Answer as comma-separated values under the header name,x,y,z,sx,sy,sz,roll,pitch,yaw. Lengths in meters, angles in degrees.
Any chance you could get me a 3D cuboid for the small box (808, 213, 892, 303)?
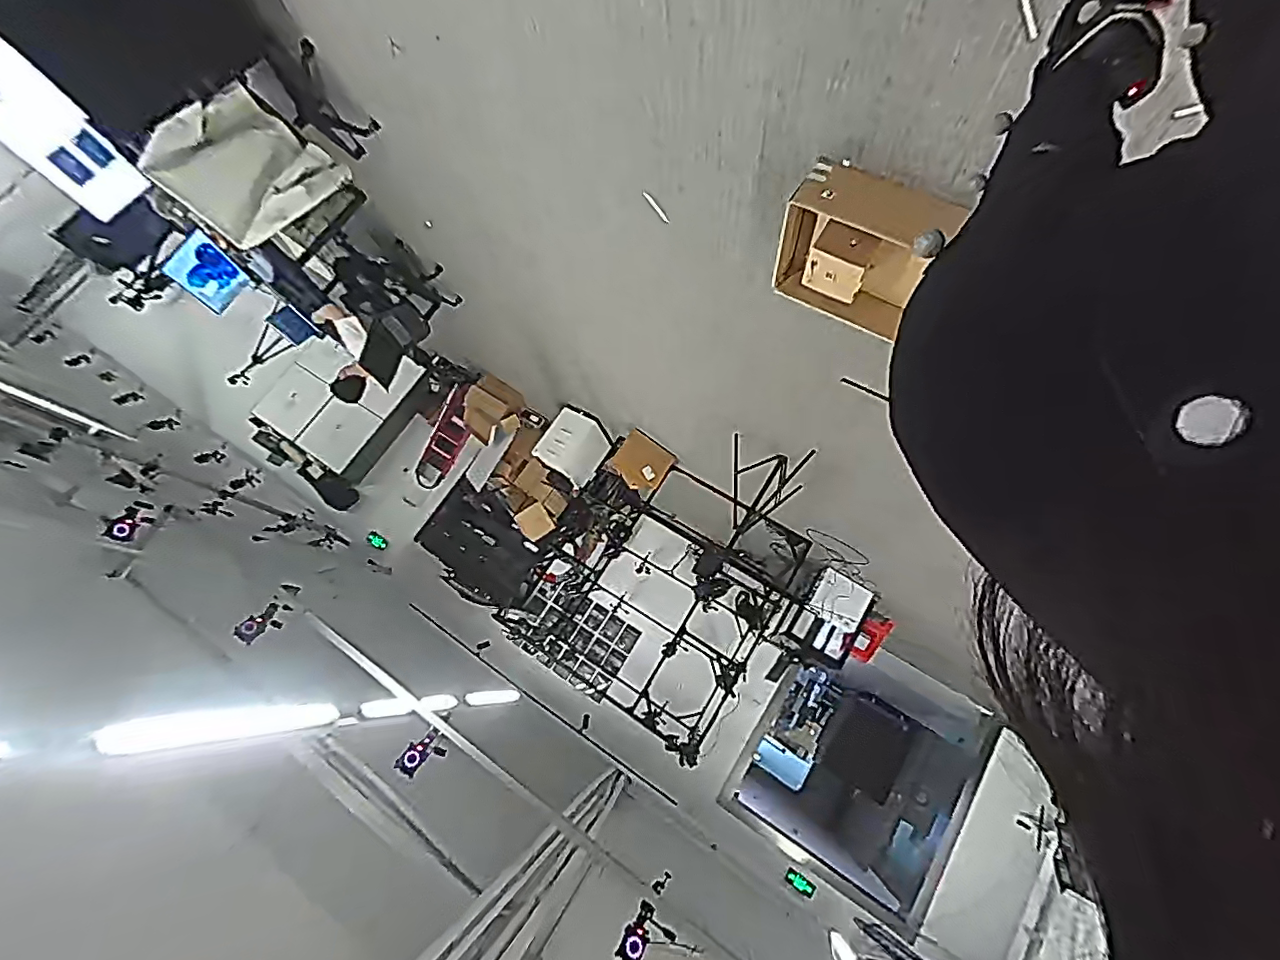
name,x,y,z,sx,sy,sz,roll,pitch,yaw
small box,0.653,-0.695,1.683,0.179,0.176,0.168,28,165,15
